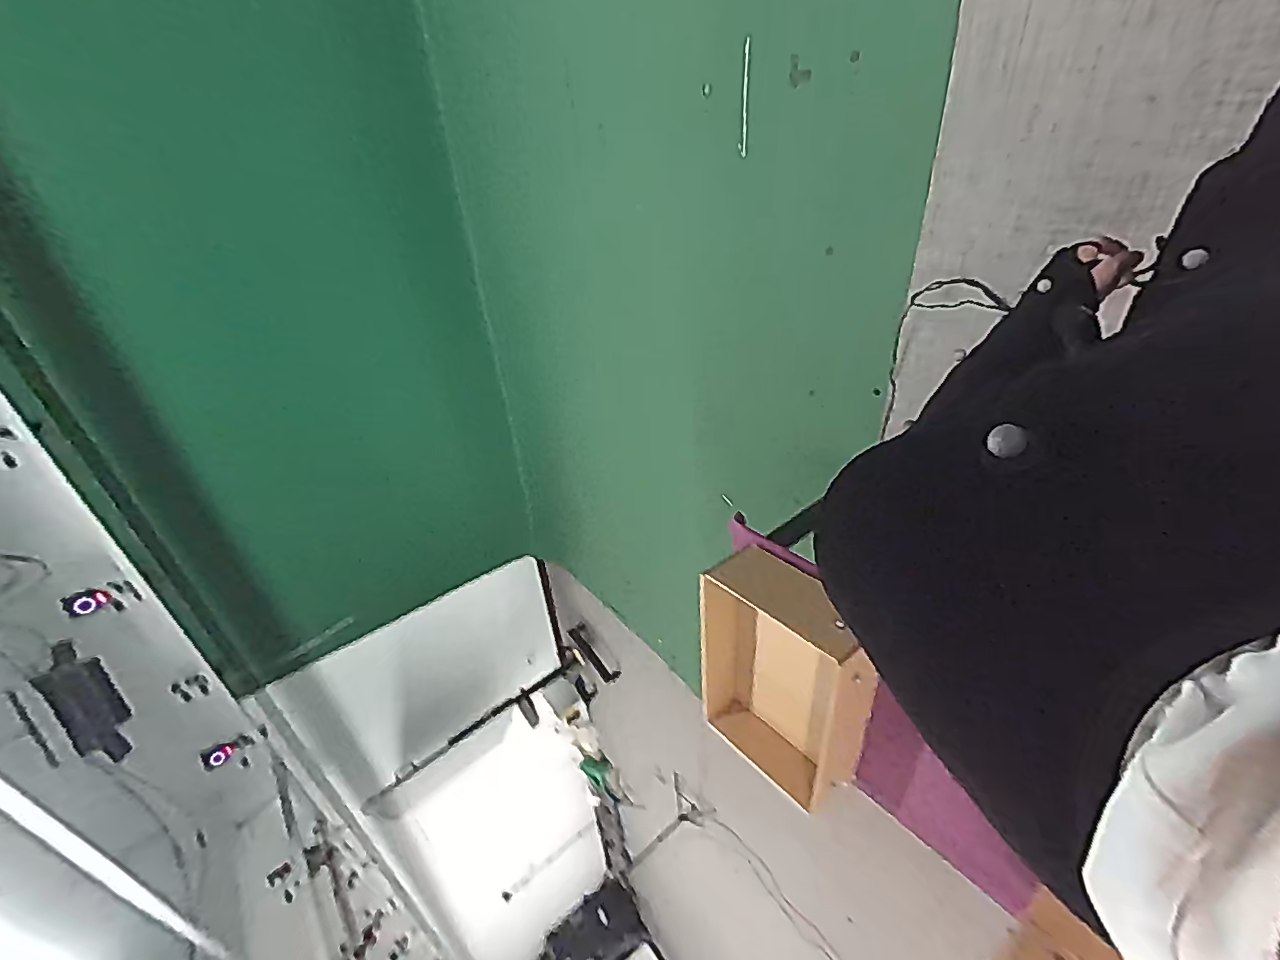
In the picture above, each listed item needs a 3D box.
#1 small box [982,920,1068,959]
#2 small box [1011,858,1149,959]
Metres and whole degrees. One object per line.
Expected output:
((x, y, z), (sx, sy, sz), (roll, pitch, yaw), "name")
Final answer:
((0.686, 0.935, 0.946), (0.168, 0.176, 0.179), (33, 137, 41), "small box")
((0.818, 0.873, 1.024), (0.168, 0.176, 0.179), (29, 135, 44), "small box")
